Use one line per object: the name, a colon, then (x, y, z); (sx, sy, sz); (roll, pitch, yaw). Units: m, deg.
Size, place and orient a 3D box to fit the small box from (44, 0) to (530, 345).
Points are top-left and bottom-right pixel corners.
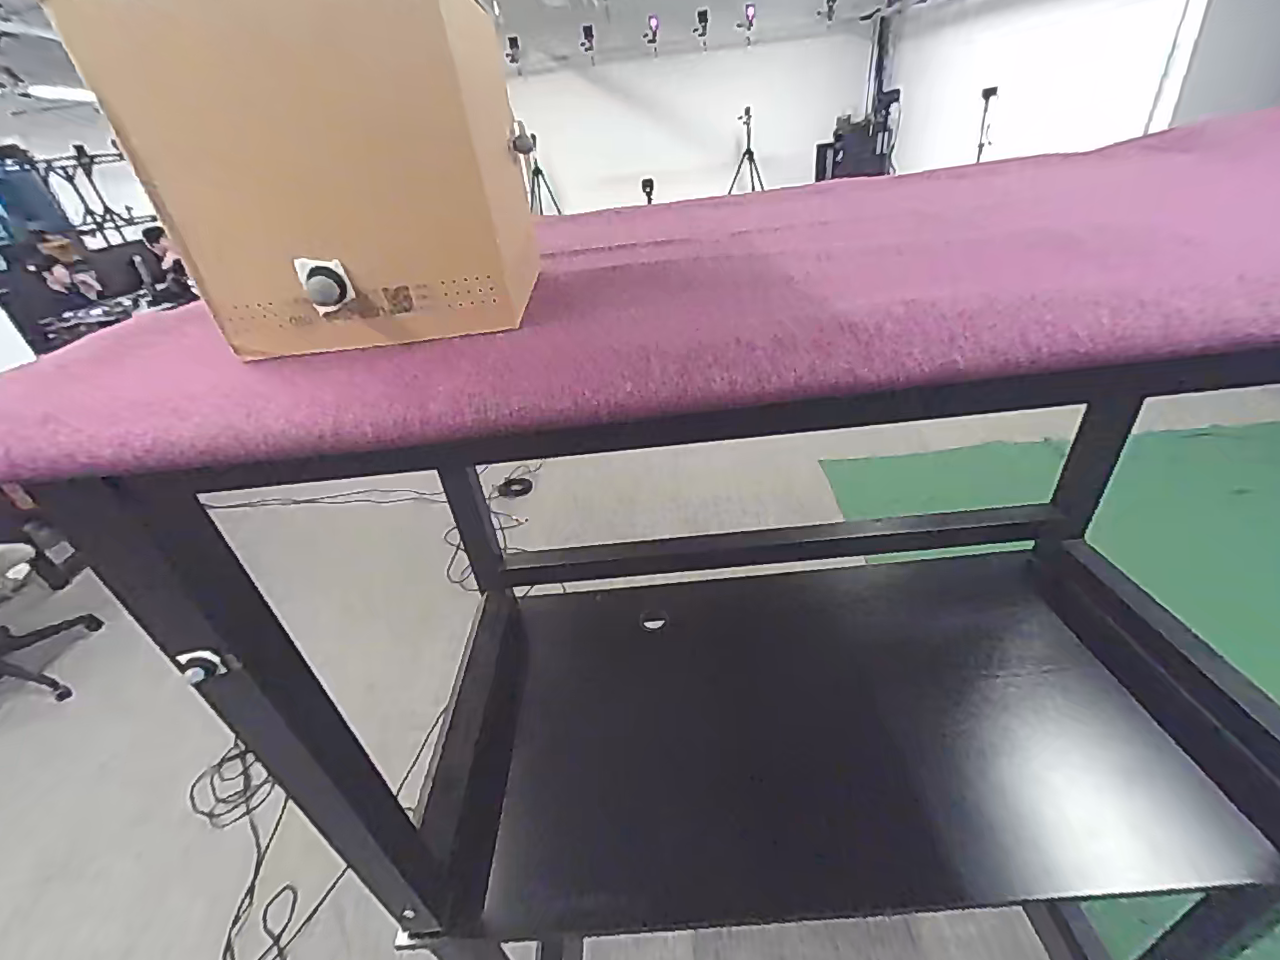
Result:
small box: (-0.170, -0.196, 0.331); (0.168, 0.176, 0.179); (-9, 34, 0)
